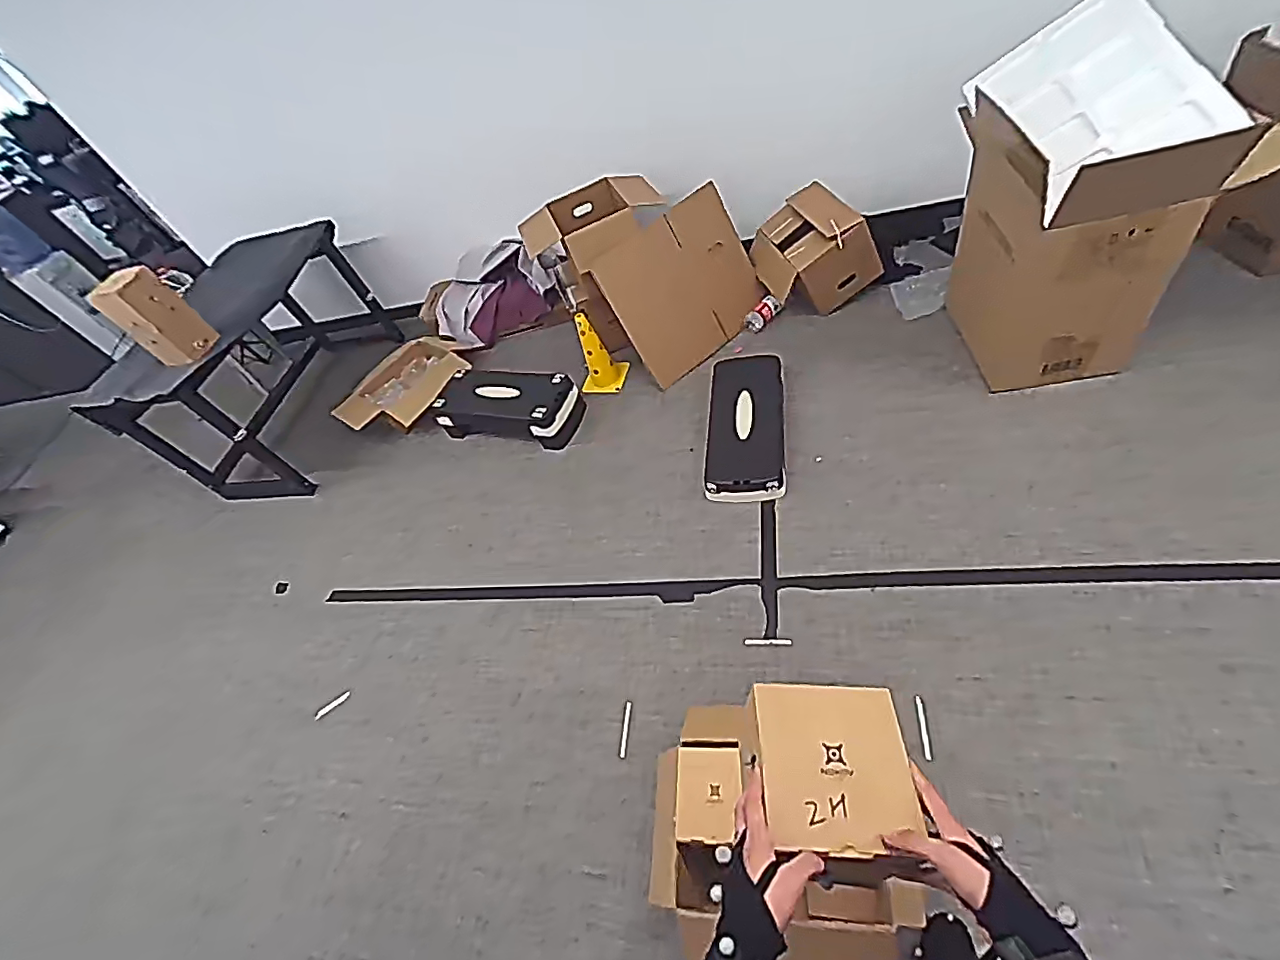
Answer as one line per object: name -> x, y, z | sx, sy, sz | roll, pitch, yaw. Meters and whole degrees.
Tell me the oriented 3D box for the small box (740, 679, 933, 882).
small box -> 0.216, 0.363, 0.655 | 0.168, 0.176, 0.179 | 1, 48, 3
